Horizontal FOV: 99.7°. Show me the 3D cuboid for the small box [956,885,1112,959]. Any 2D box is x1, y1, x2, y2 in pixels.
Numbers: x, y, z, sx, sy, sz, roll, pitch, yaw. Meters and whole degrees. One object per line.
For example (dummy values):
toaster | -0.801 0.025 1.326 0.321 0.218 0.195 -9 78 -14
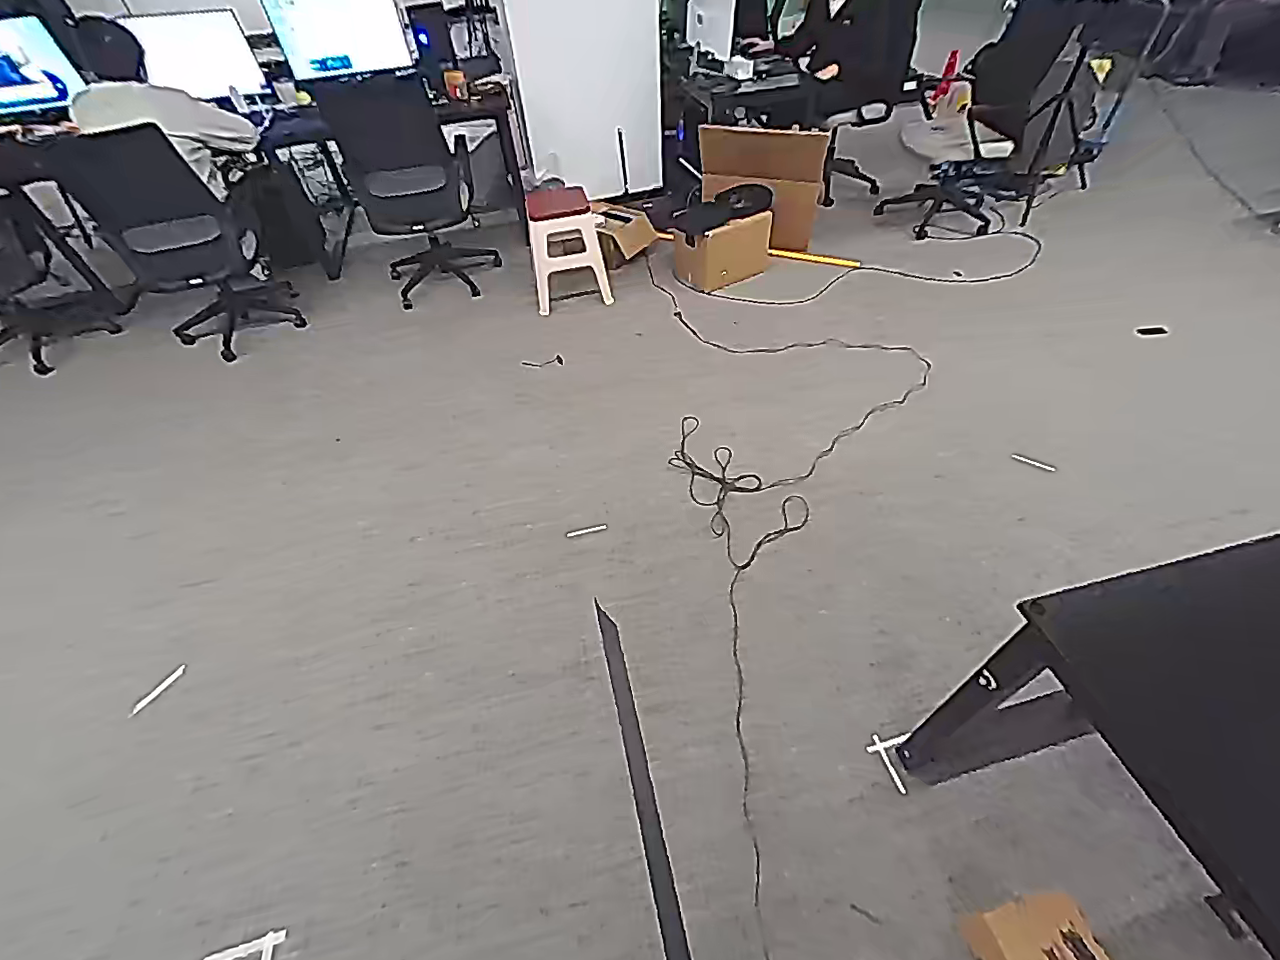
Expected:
small box | 0.749 0.897 1.027 0.179 0.176 0.168 -14 48 -6
